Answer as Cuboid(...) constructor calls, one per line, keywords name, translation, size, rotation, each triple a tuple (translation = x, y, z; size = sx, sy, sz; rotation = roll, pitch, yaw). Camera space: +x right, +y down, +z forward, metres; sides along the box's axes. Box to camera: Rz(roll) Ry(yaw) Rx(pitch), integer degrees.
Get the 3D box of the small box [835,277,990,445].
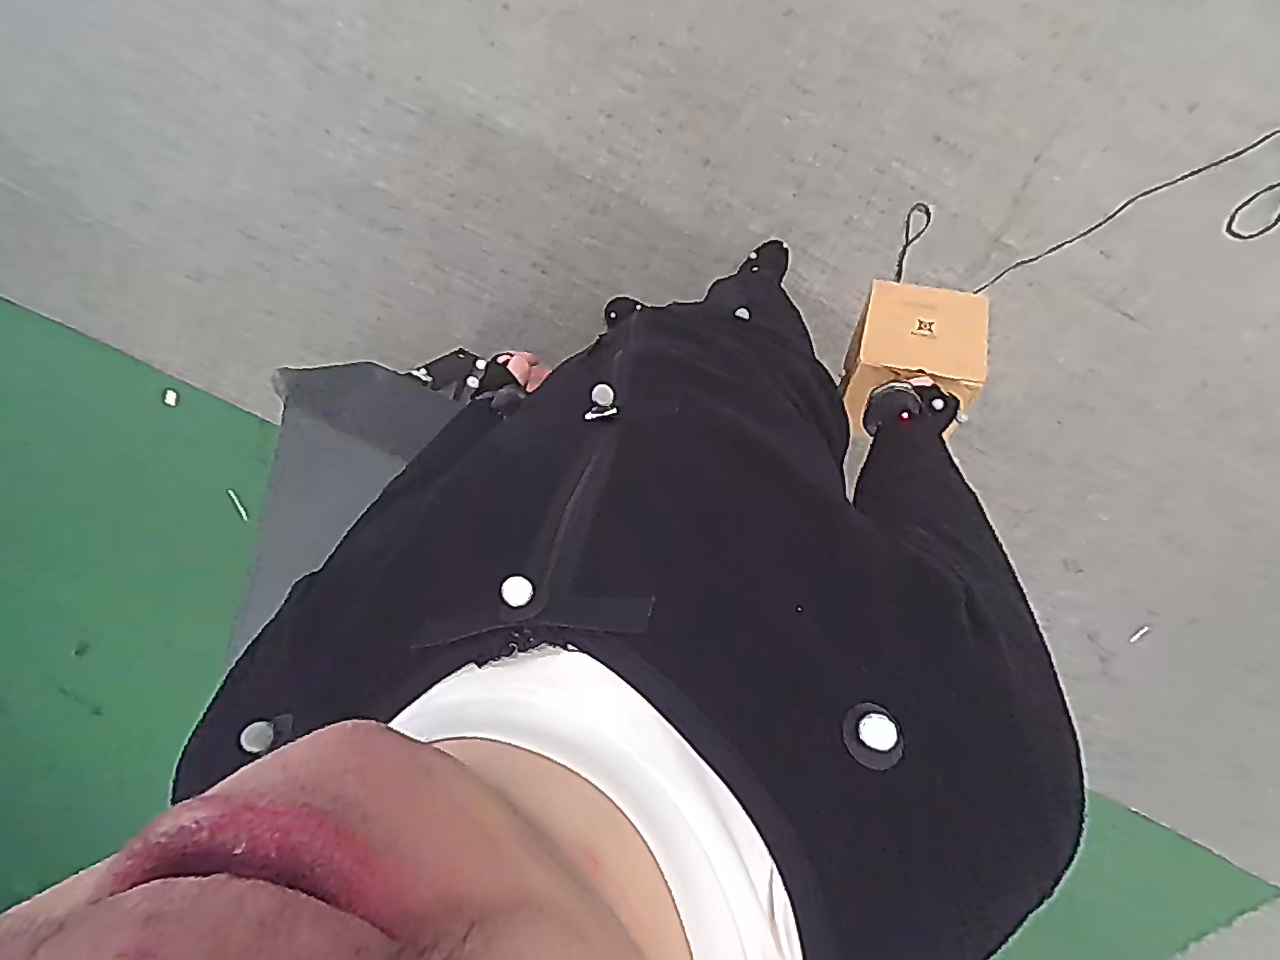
Cuboid(name="small box", translation=(0.407, -0.176, 0.828), size=(0.168, 0.179, 0.176), rotation=(14, 152, 12))
